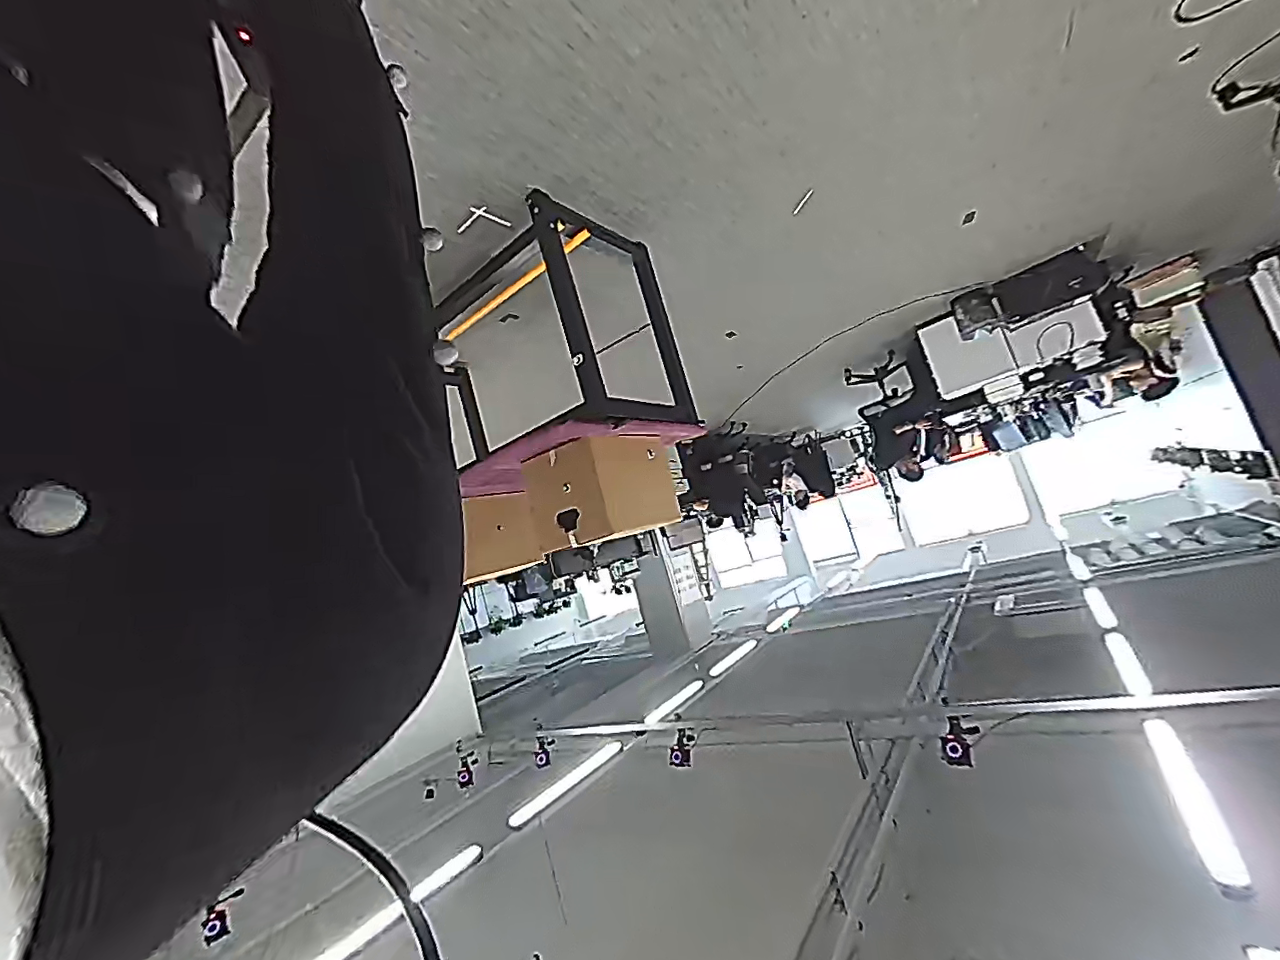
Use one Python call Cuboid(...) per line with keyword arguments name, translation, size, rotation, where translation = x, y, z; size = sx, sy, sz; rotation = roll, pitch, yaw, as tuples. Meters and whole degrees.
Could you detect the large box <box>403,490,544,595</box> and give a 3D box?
Cuboid(name="large box", translation=(-0.673, 0.243, 2.196), size=(0.320, 0.320, 0.408), rotation=(-20, 173, 34))
